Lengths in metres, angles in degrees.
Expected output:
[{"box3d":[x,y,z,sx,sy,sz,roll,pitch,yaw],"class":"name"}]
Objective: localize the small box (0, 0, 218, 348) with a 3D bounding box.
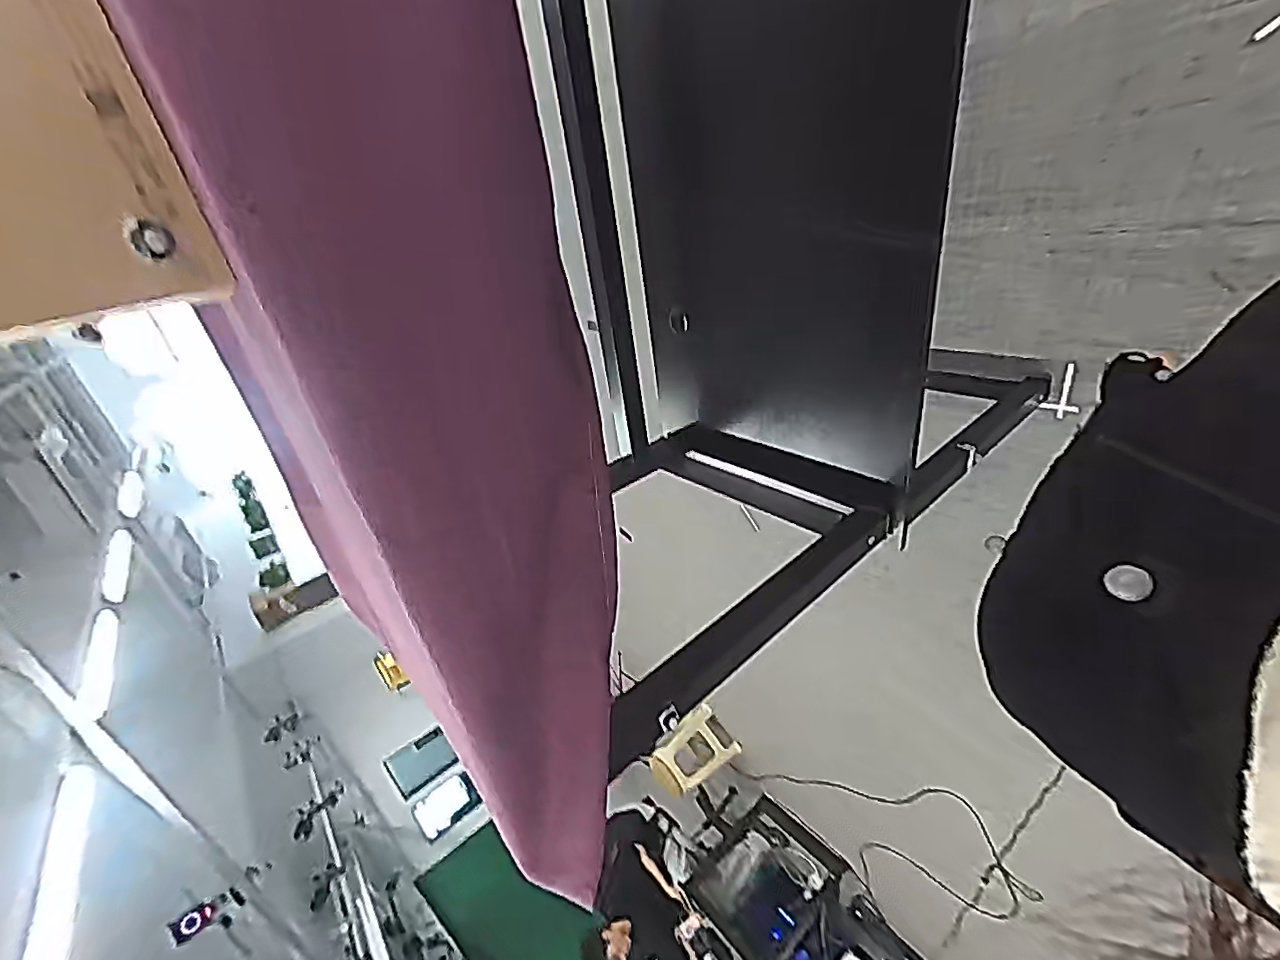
[{"box3d":[-0.407,-0.182,0.349,0.179,0.176,0.168,20,130,50],"class":"small box"}]
